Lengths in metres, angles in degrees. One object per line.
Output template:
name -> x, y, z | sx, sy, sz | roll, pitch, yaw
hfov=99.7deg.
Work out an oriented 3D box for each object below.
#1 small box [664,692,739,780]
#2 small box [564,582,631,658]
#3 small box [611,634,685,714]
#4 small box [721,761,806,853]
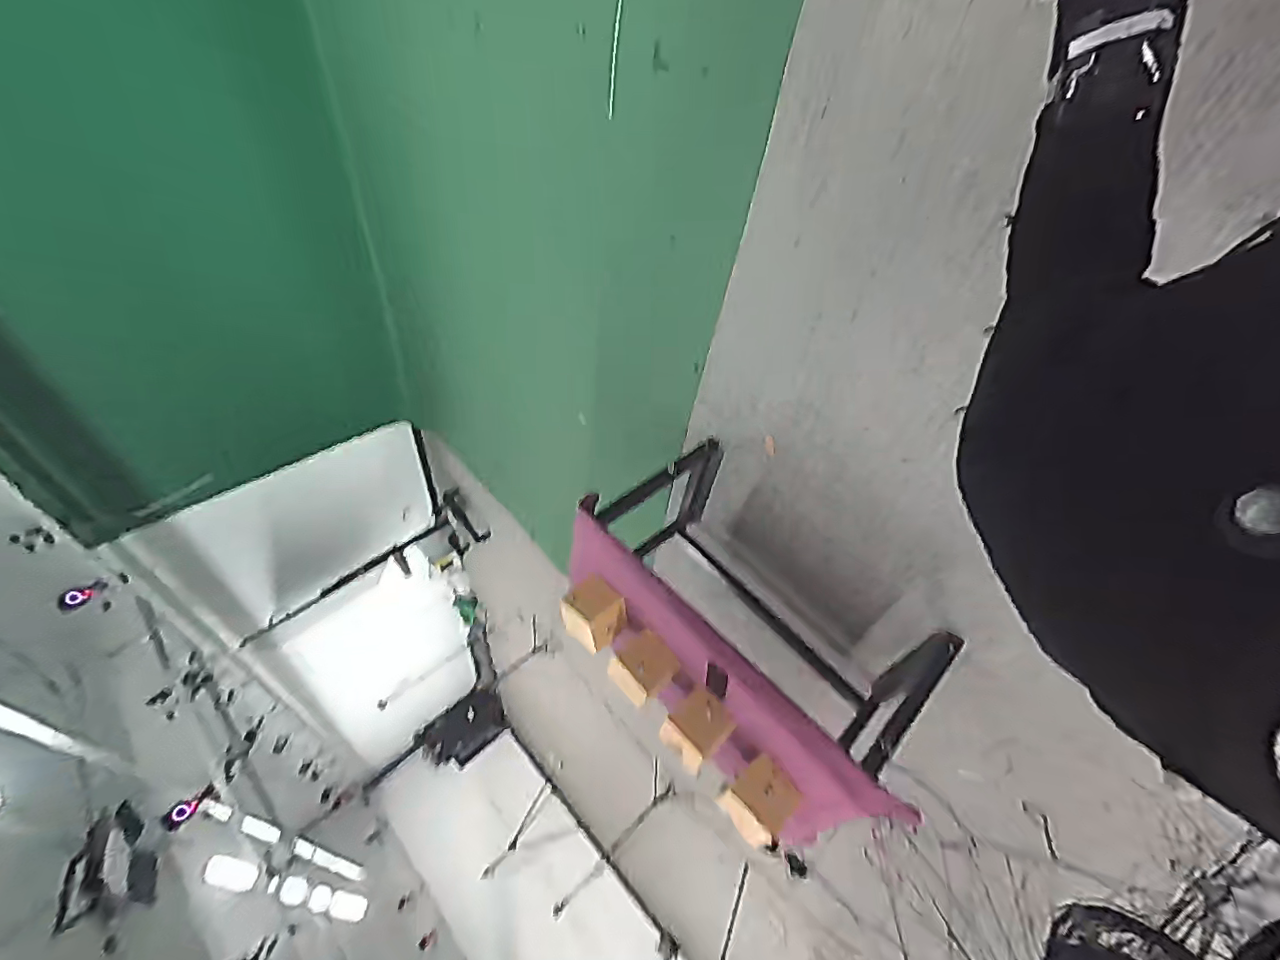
small box -> 0.201, 0.835, 1.769 | 0.168, 0.176, 0.179 | 40, 143, 27
small box -> -0.145, 0.500, 1.961 | 0.179, 0.176, 0.168 | 27, 137, 40
small box -> 0.028, 0.666, 1.865 | 0.179, 0.176, 0.168 | 45, 145, 21
small box -> 0.382, 1.001, 1.662 | 0.168, 0.176, 0.179 | 44, 145, 23
